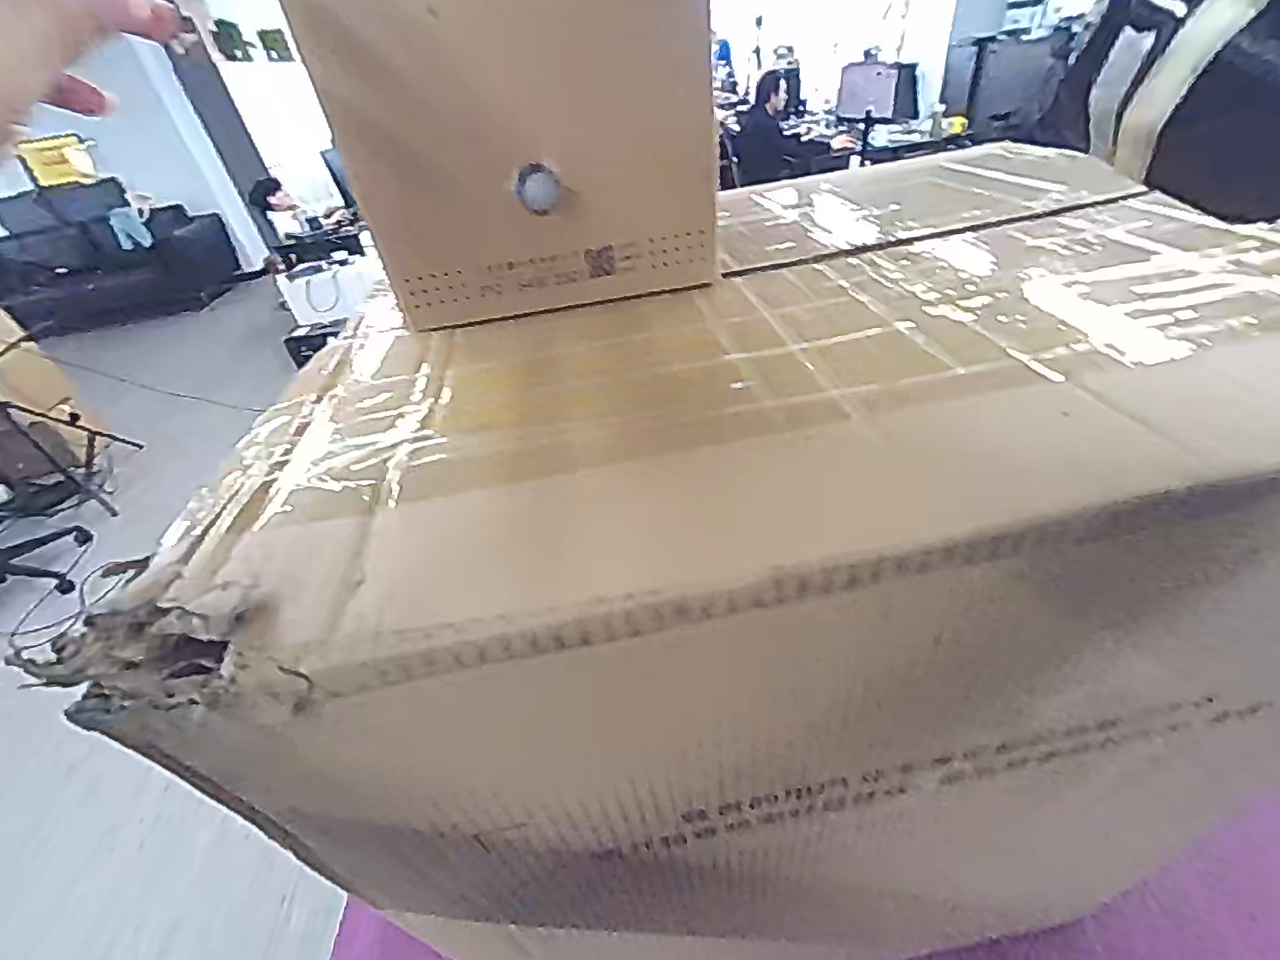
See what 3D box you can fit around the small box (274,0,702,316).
[{"bbox_3d":[-0.067,-0.205,0.292,0.168,0.176,0.179,-11,38,-2],"label":"small box"}]
